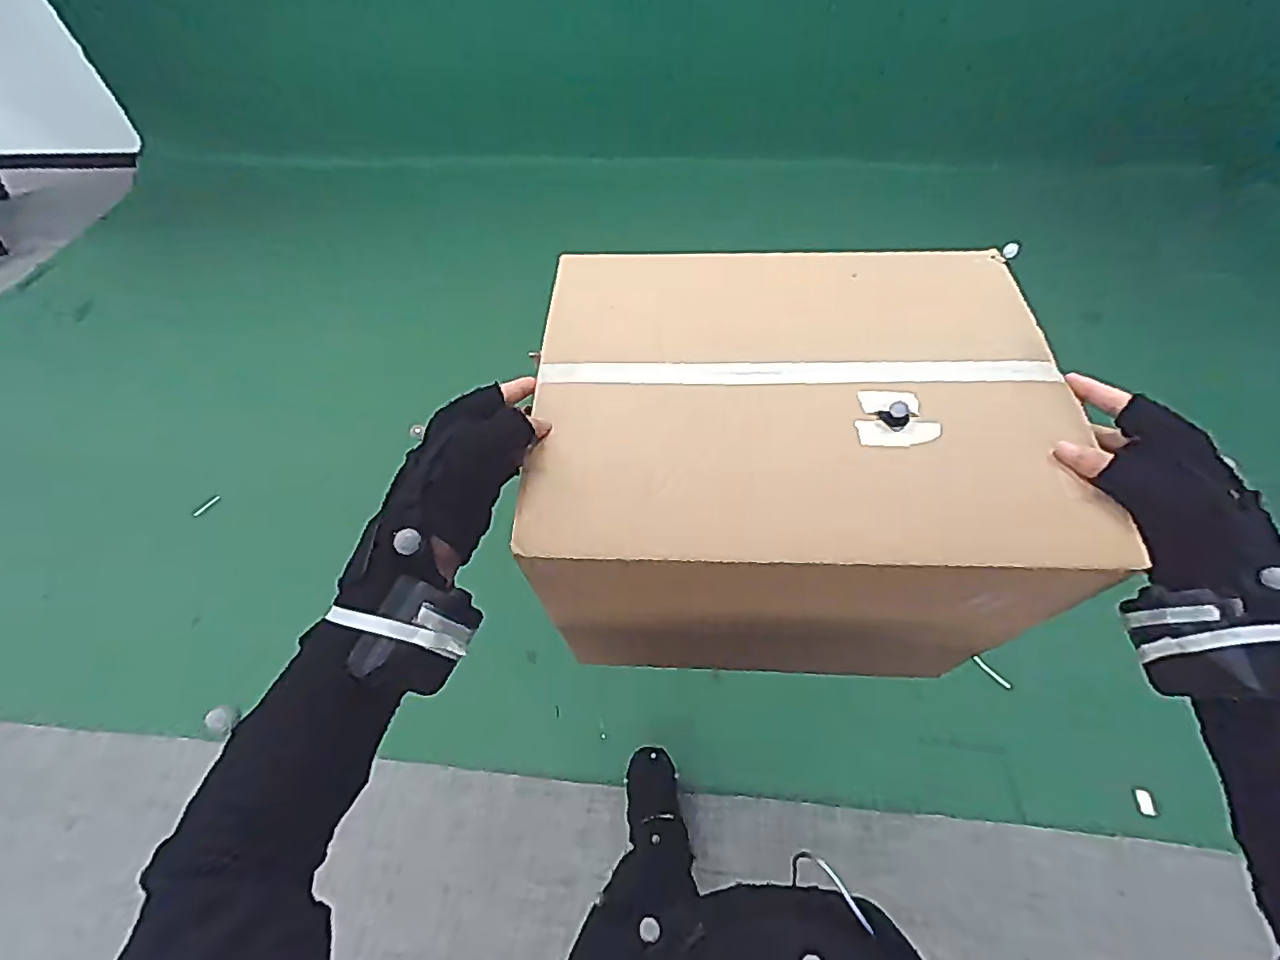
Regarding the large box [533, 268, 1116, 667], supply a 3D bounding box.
[{"bbox_3d":[0.127,0.004,0.570,0.408,0.320,0.320,1,59,2],"label":"large box"}]
